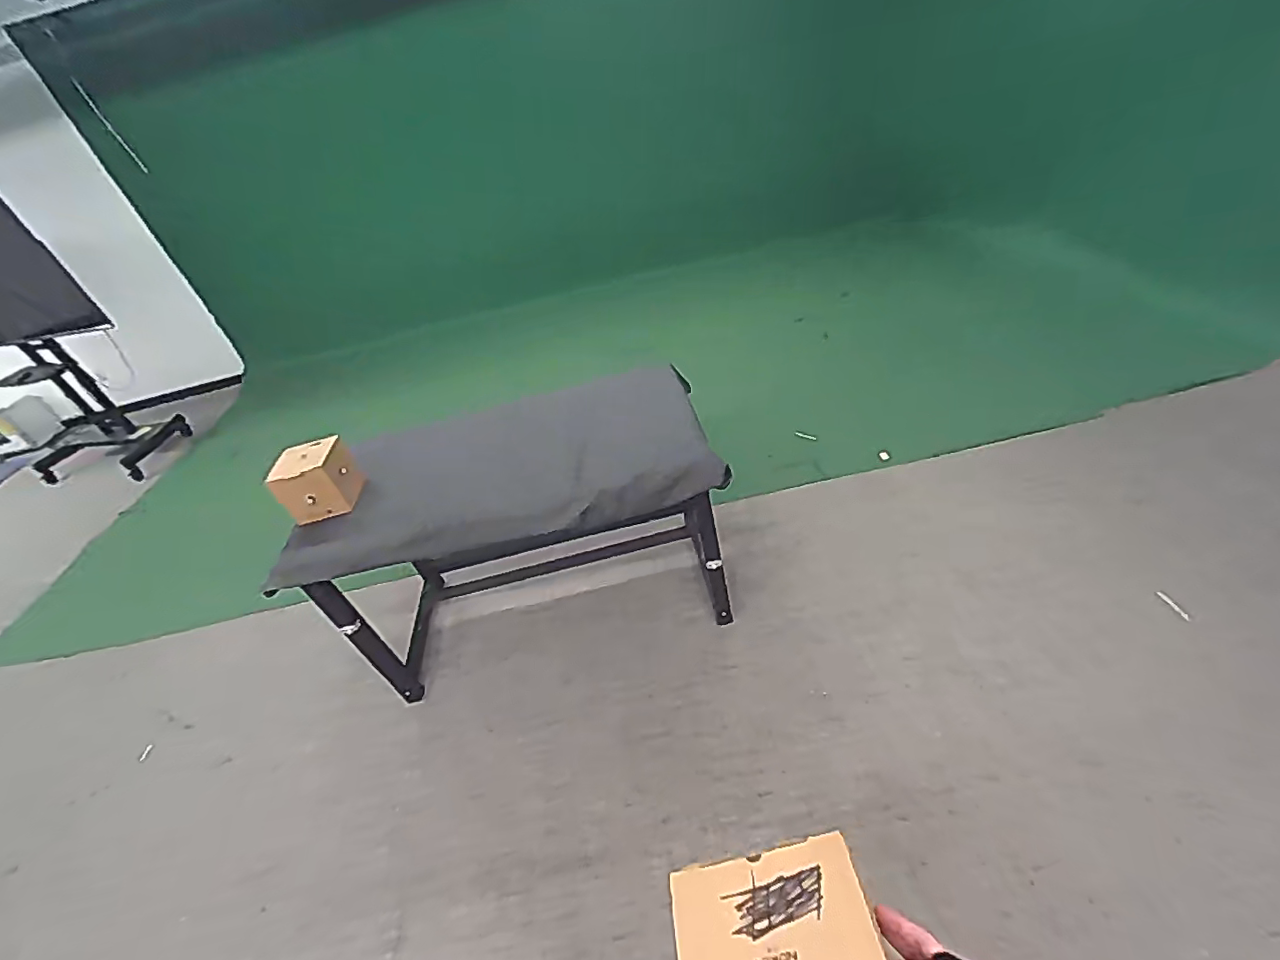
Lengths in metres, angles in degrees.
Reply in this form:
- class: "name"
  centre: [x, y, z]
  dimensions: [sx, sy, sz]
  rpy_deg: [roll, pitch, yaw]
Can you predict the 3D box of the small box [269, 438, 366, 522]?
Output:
- class: "small box"
  centre: [-0.945, 0.005, 1.605]
  dimensions: [0.168, 0.176, 0.179]
  rpy_deg: [-15, 38, -1]
